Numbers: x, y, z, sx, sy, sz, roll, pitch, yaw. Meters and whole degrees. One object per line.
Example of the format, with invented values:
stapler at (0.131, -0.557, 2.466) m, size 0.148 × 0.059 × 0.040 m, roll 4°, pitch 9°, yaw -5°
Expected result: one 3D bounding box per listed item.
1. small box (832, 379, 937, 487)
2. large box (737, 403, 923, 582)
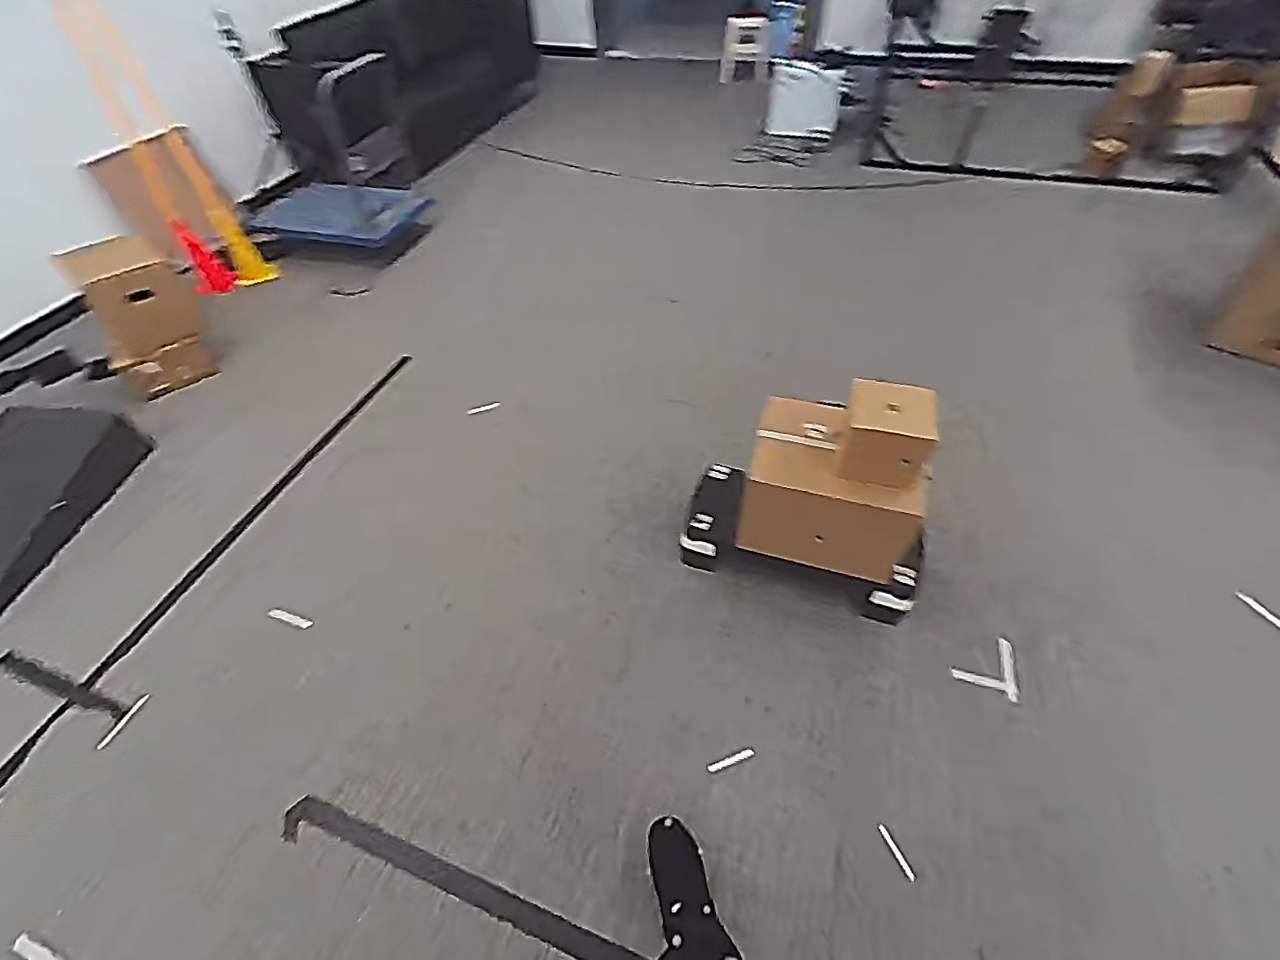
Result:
small box at (0.554, -0.103, 1.236) m, size 0.179 × 0.176 × 0.168 m, roll 11°, pitch 52°, yaw 13°
large box at (0.494, 0.033, 1.446) m, size 0.408 × 0.320 × 0.320 m, roll 12°, pitch 51°, yaw 14°
